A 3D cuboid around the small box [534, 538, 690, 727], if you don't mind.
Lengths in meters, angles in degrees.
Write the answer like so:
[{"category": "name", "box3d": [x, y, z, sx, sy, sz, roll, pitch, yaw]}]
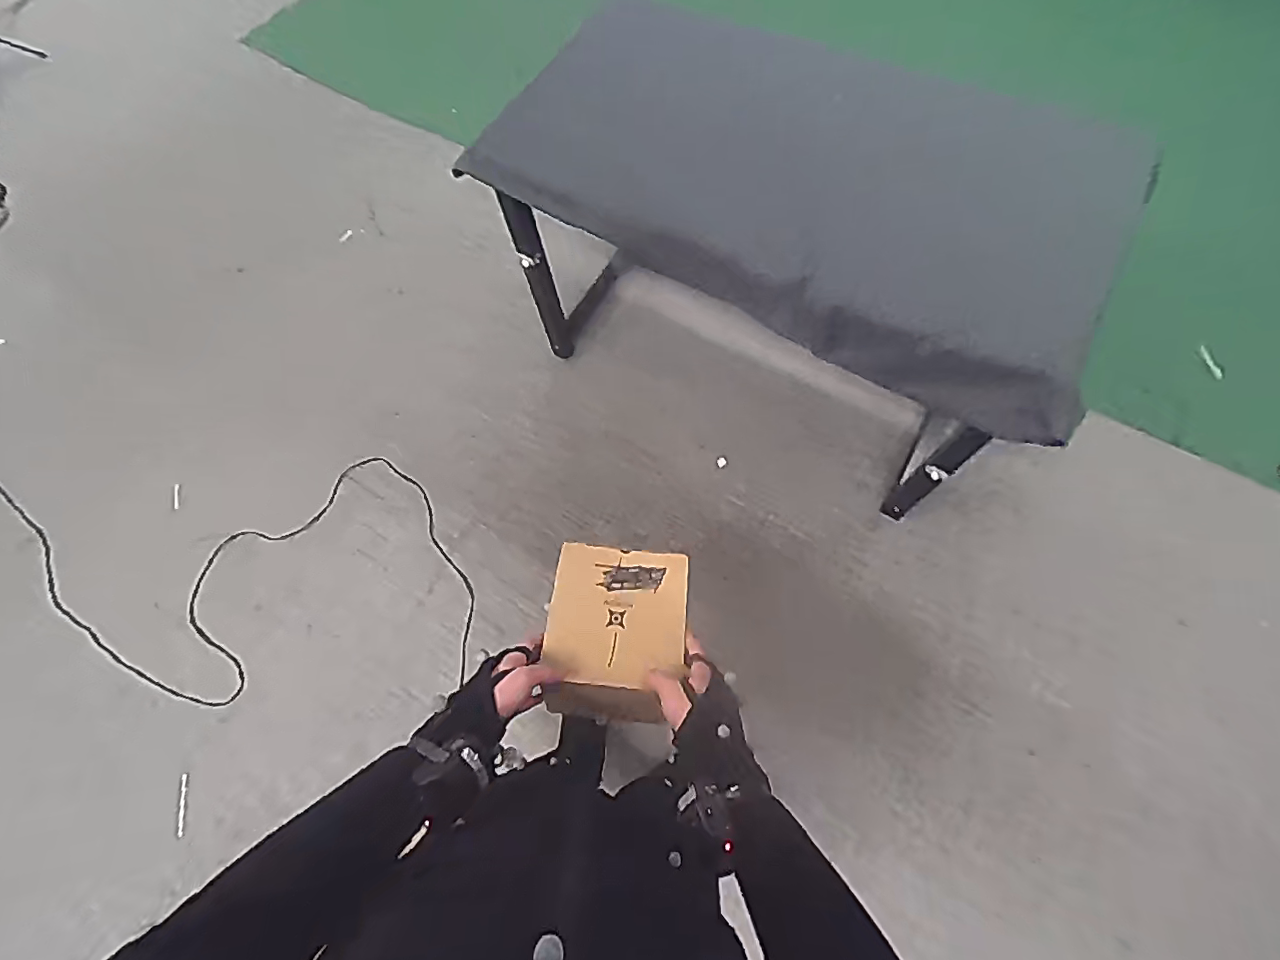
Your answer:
[{"category": "small box", "box3d": [-0.033, 0.200, 0.698, 0.168, 0.176, 0.179, 7, 54, 0]}]
